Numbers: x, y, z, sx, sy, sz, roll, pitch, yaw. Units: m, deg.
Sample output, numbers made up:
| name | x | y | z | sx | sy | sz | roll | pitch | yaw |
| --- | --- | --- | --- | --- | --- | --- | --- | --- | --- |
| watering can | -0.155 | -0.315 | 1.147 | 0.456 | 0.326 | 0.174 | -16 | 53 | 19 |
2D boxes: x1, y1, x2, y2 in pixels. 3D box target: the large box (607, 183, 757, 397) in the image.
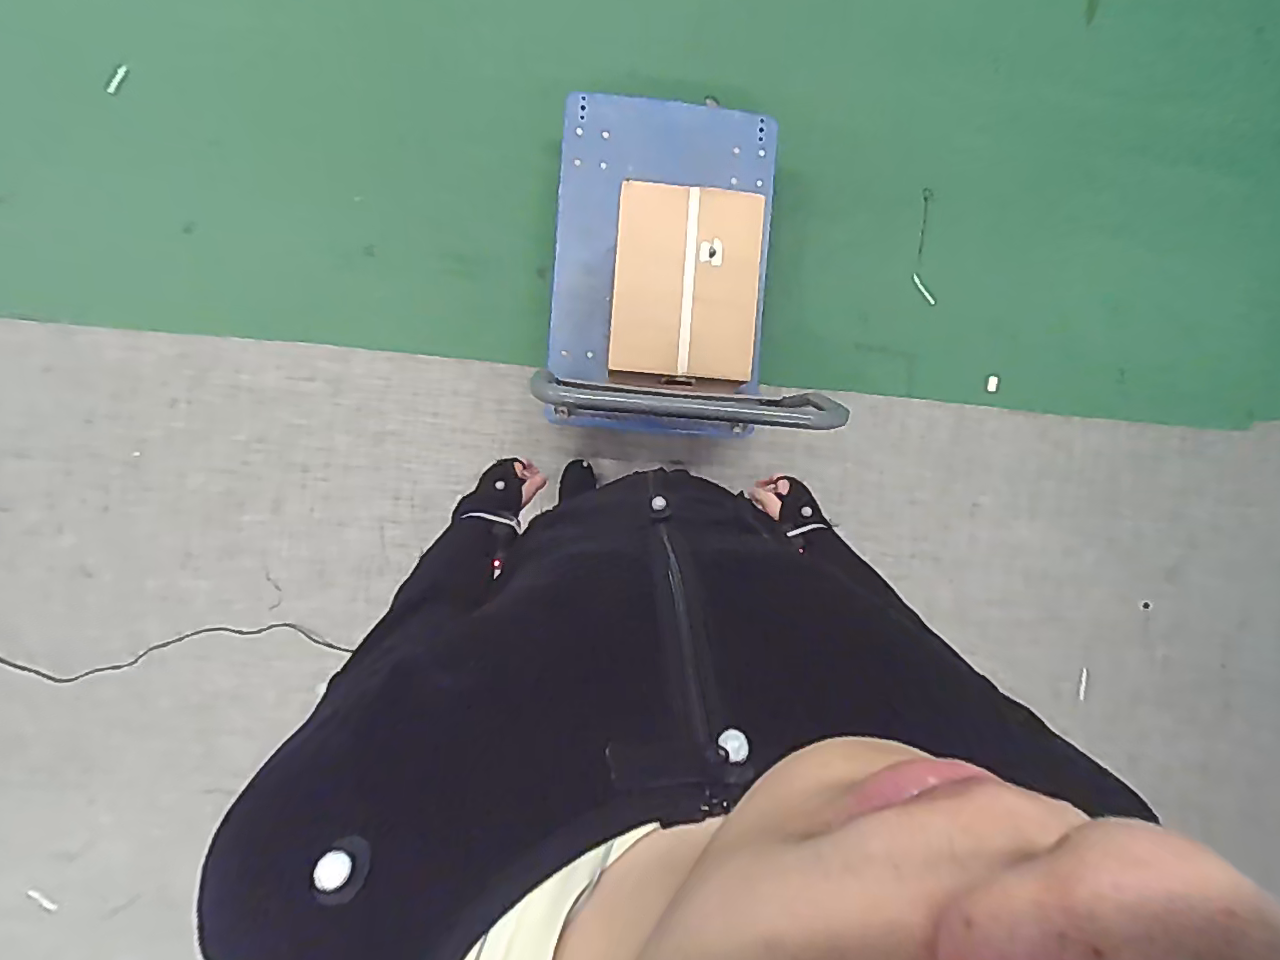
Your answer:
| name | x | y | z | sx | sy | sz | roll | pitch | yaw |
| --- | --- | --- | --- | --- | --- | --- | --- | --- | --- |
| large box | 0.082 | -0.426 | 1.306 | 0.320 | 0.320 | 0.408 | 3 | 90 | -5 |
